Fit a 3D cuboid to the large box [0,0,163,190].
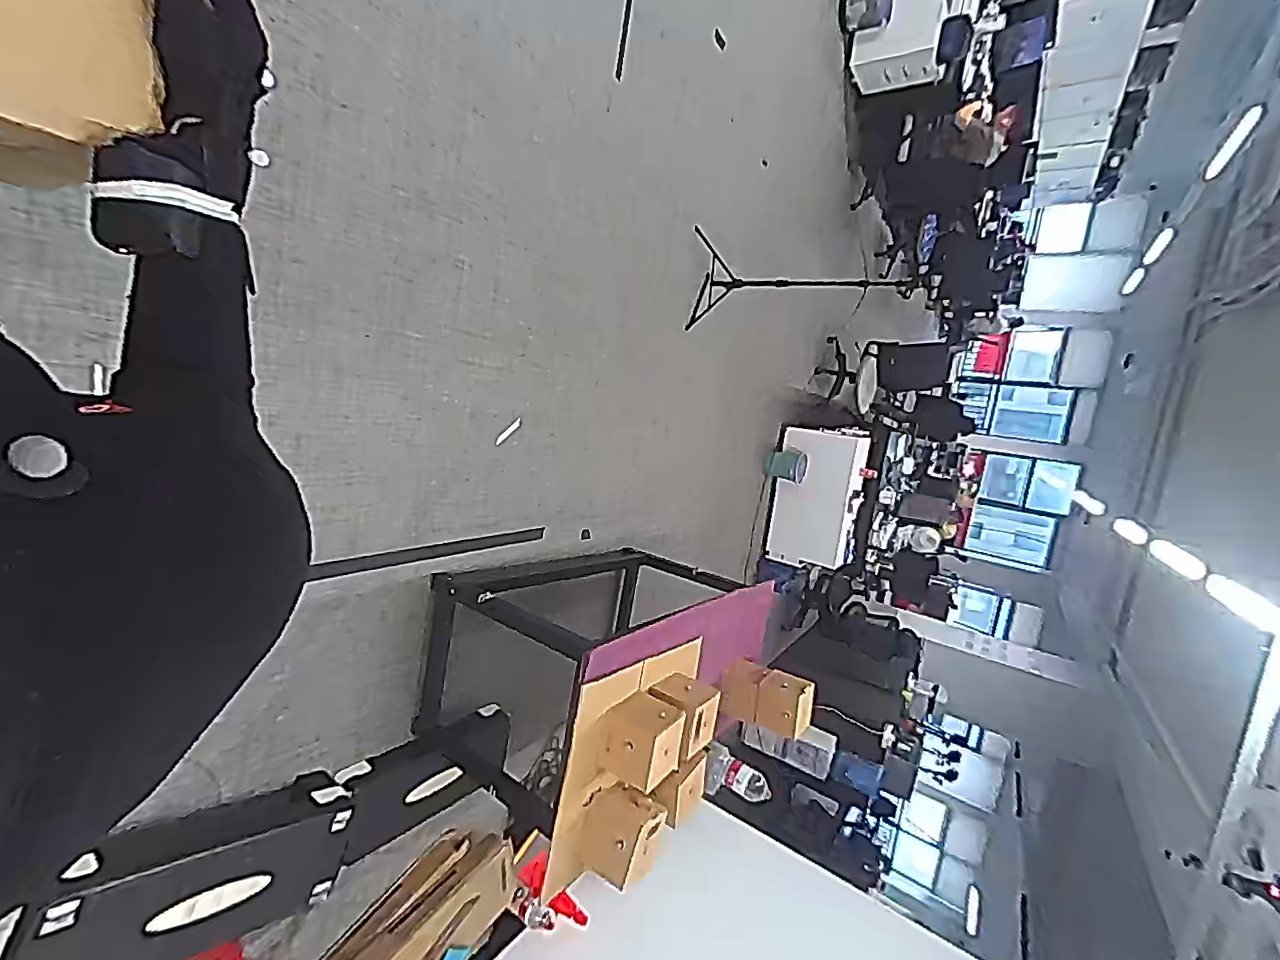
[{"bbox_3d":[-0.561,-0.389,0.278,0.408,0.320,0.320,-8,110,-58],"label":"large box"}]
